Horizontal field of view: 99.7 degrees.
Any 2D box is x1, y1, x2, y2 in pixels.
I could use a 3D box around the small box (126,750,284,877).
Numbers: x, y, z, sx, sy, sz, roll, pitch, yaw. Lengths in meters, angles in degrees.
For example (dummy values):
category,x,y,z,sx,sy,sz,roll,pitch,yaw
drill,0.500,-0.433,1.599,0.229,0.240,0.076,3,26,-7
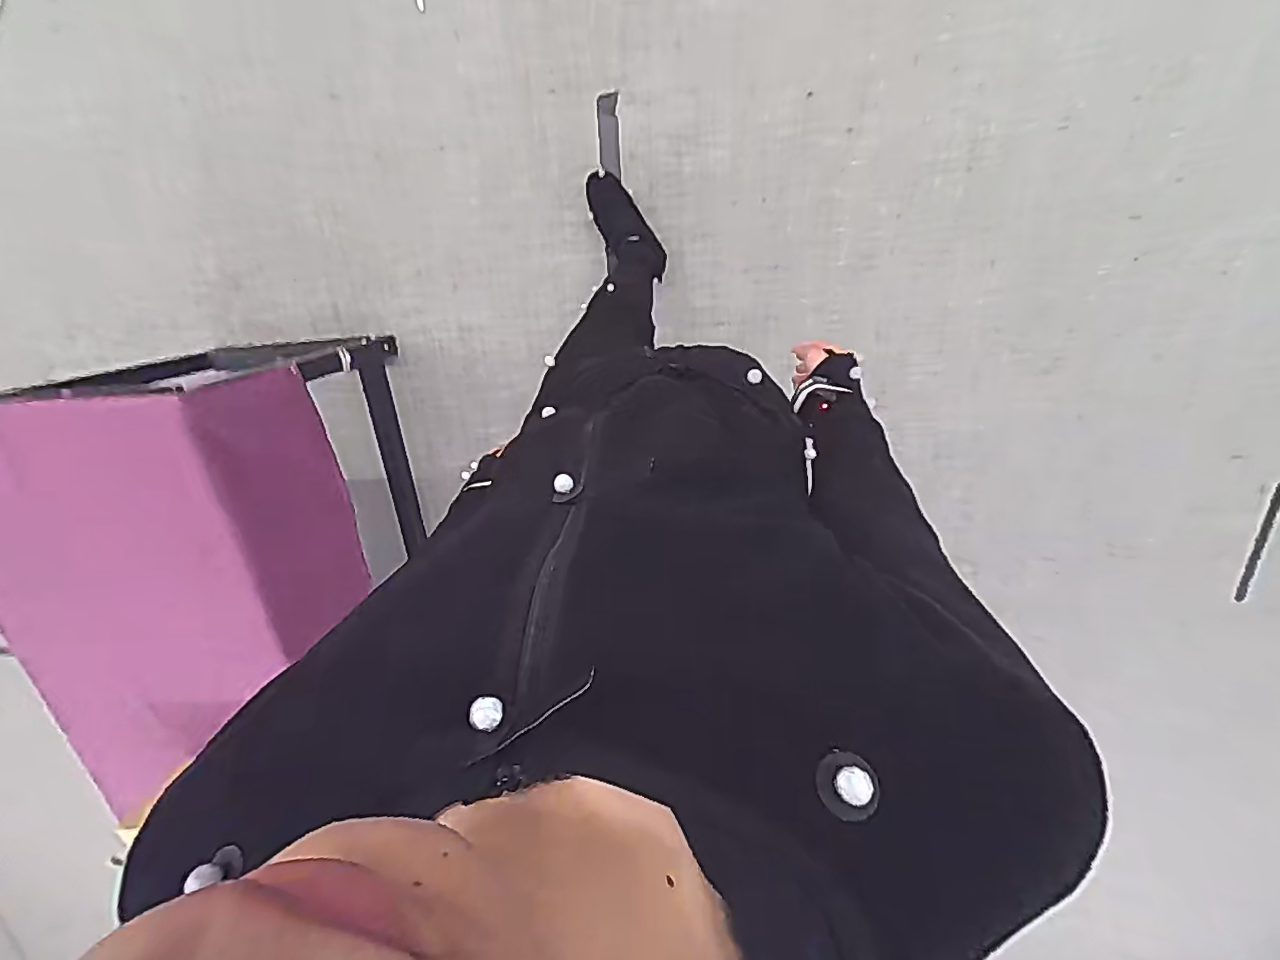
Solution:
category,x,y,z,sx,sy,sz,roll,pitch,yaw
small box,-0.903,0.701,1.148,0.179,0.176,0.168,-10,111,9
